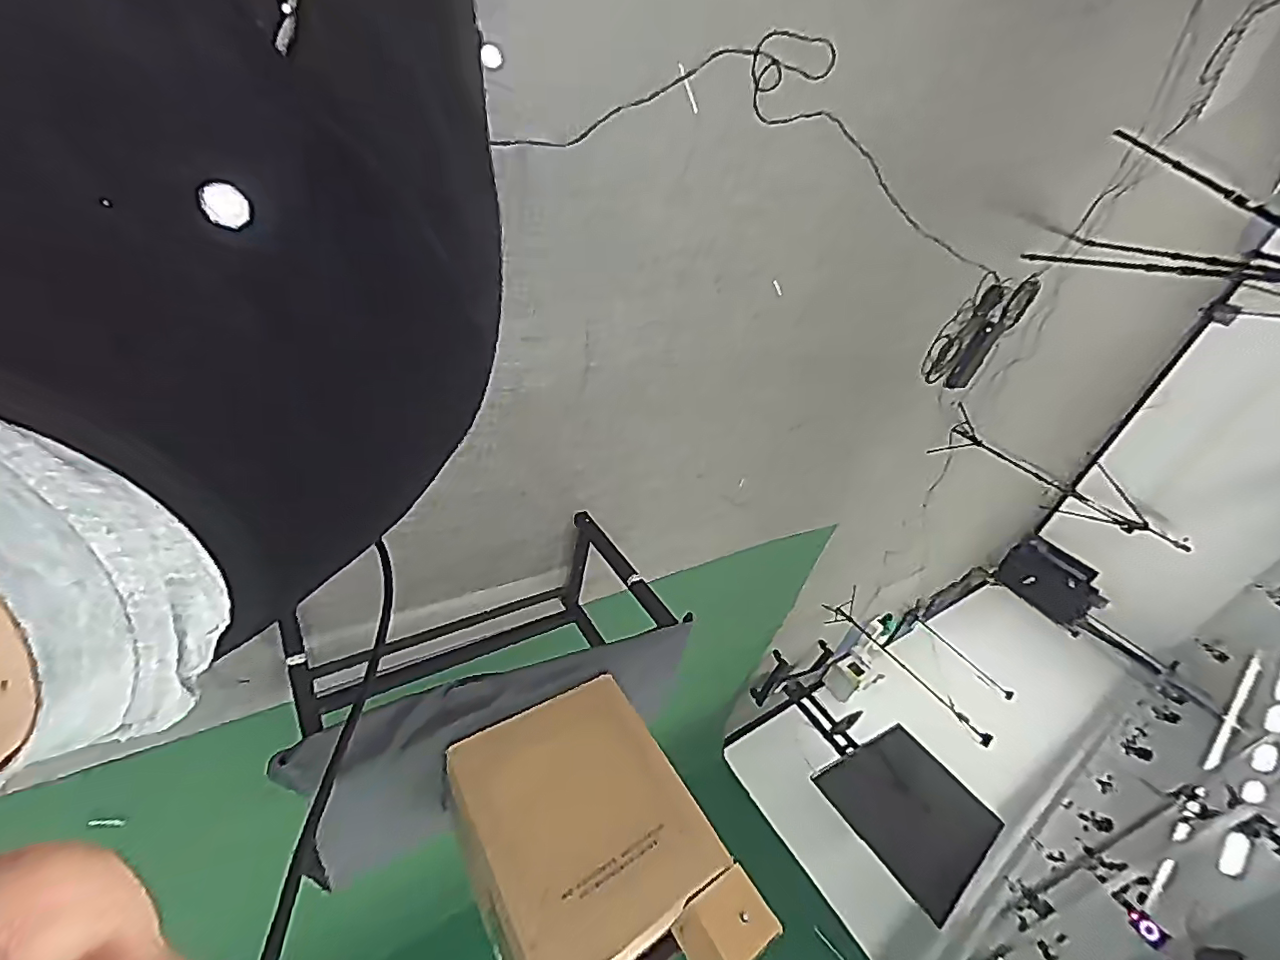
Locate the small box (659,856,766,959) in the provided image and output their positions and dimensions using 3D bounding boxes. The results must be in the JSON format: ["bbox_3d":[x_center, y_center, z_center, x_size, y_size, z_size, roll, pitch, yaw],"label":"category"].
[{"bbox_3d":[0.178,1.104,1.365,0.179,0.176,0.168,-12,131,-39],"label":"small box"}]
